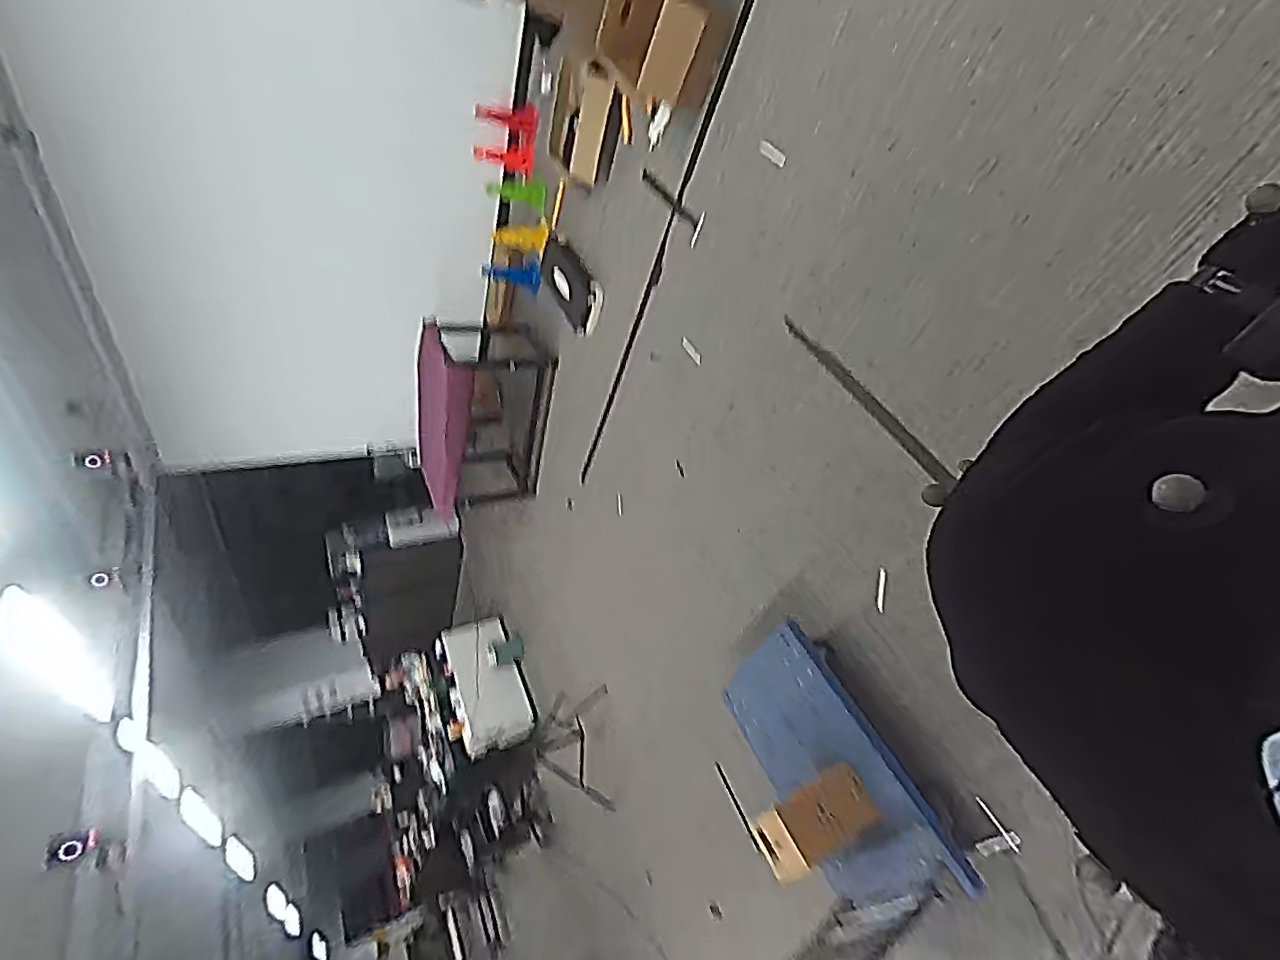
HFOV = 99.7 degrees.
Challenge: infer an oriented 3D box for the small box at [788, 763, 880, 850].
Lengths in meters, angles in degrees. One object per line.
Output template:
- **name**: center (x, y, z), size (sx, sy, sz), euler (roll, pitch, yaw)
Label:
- **small box**: center (0.607, 1.017, 1.688), size (0.168, 0.176, 0.179), euler (60, 142, 29)
